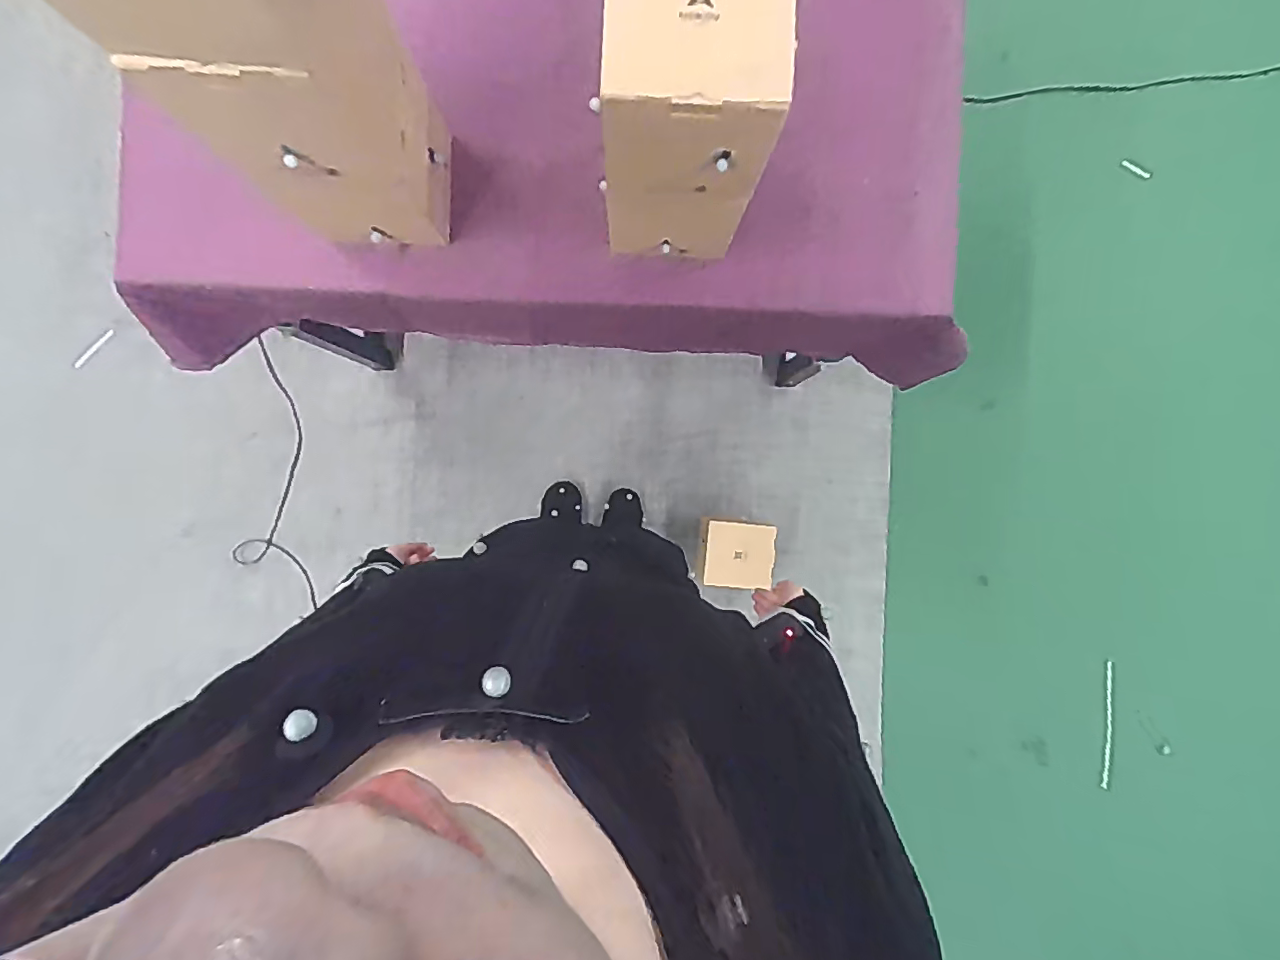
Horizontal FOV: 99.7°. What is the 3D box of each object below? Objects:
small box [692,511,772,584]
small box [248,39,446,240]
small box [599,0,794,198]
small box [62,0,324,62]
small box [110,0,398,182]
[{"bbox_3d":[0.240,0.176,1.451,0.179,0.176,0.168,5,91,-3],"label":"small box"},{"bbox_3d":[-0.359,-0.424,0.693,0.179,0.176,0.168,1,90,-3],"label":"small box"},{"bbox_3d":[0.049,-0.410,0.542,0.168,0.176,0.179,2,91,-2],"label":"small box"},{"bbox_3d":[-0.342,-0.427,0.364,0.179,0.176,0.168,4,90,-3],"label":"small box"},{"bbox_3d":[-0.353,-0.428,0.528,0.168,0.176,0.179,2,91,-1],"label":"small box"}]
